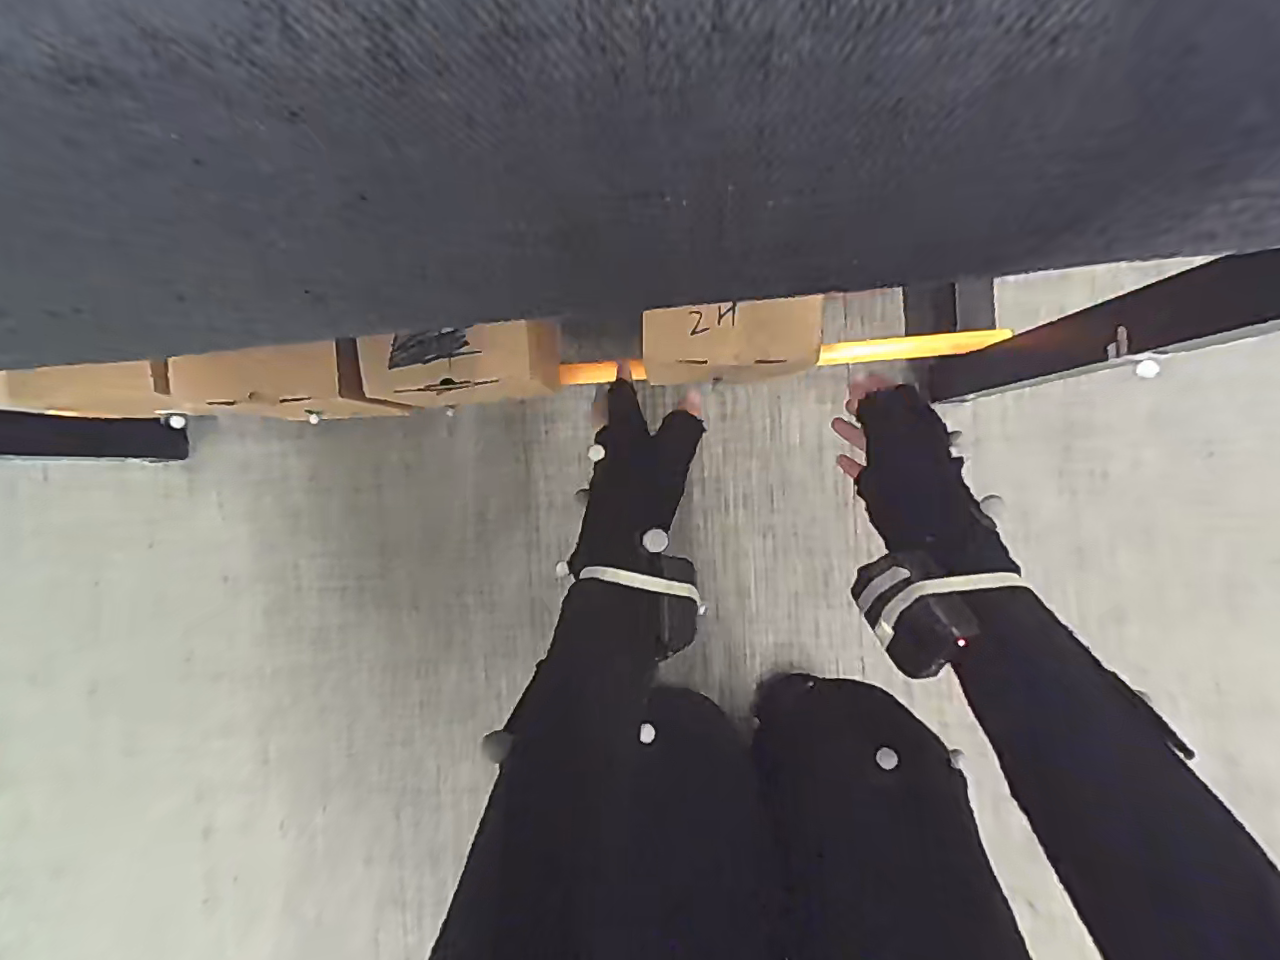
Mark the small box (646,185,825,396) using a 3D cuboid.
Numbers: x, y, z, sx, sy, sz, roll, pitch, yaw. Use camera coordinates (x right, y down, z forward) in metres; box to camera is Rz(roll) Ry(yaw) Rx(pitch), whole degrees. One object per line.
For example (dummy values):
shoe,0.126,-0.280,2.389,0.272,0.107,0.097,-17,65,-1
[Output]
small box,0.092,-0.189,0.584,0.168,0.176,0.179,1,93,4
